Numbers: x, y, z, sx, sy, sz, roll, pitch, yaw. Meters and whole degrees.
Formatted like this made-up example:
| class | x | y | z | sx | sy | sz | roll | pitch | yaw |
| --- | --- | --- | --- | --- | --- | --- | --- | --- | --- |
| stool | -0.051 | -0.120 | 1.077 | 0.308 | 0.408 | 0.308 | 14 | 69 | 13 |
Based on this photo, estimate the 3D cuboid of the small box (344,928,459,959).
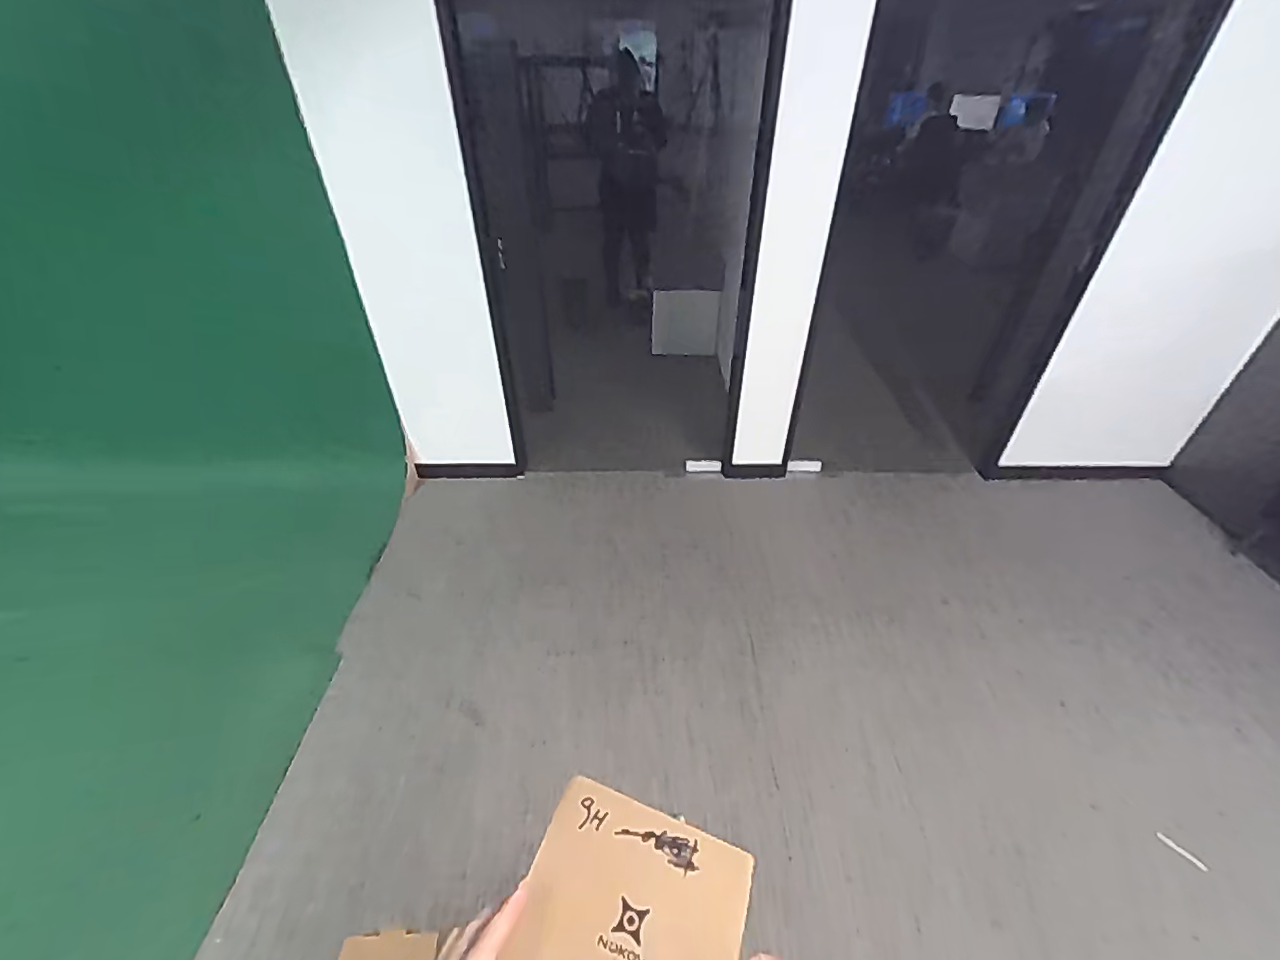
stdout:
| class | x | y | z | sx | sy | sz | roll | pitch | yaw |
| --- | --- | --- | --- | --- | --- | --- | --- | --- | --- |
| small box | -0.417 | 0.899 | 0.919 | 0.168 | 0.176 | 0.179 | -1 | 36 | 0 |
